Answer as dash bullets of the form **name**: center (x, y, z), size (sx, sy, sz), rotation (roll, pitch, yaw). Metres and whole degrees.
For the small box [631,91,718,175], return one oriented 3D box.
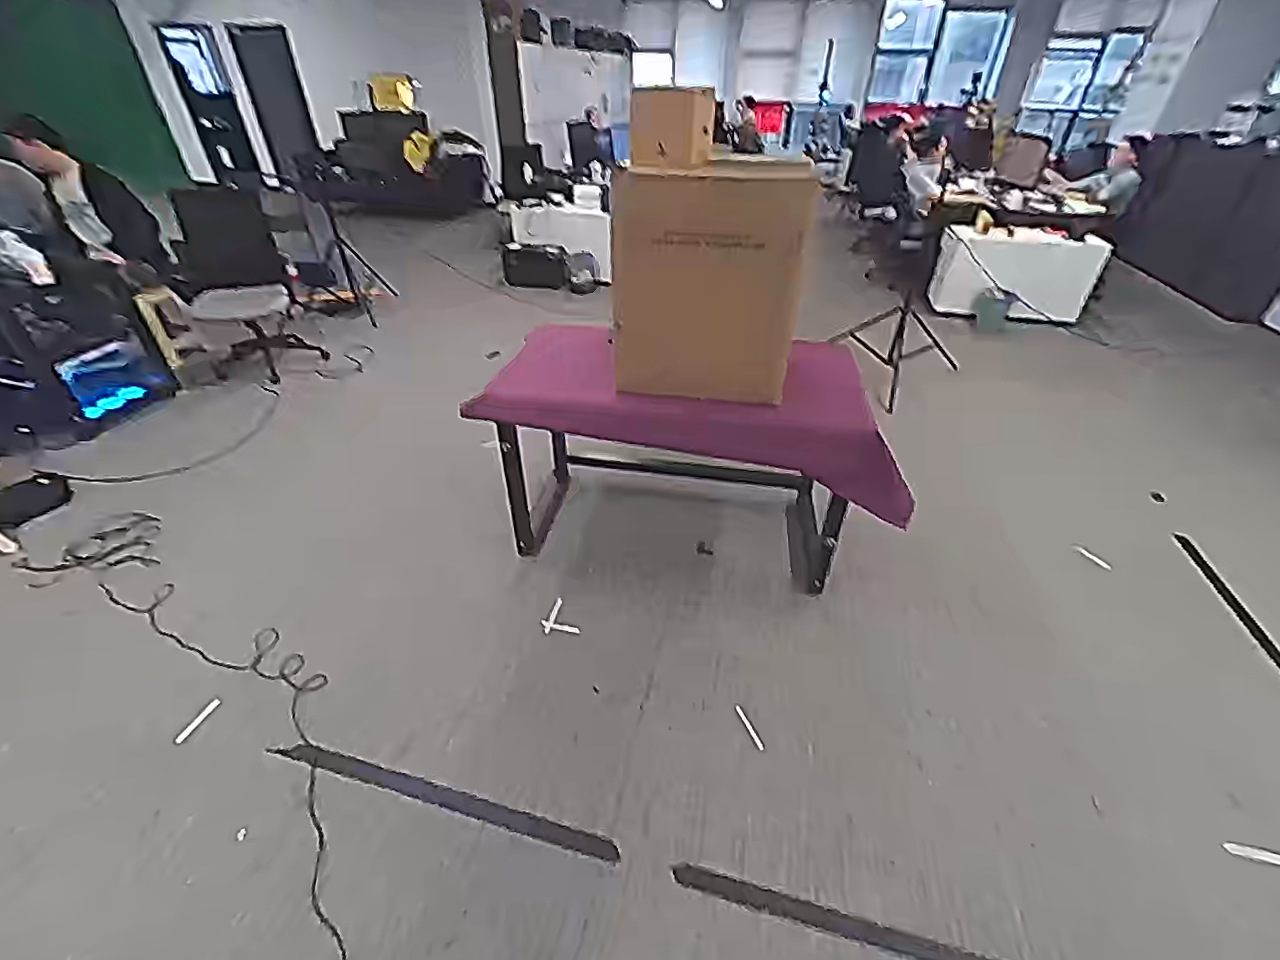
- **small box**: center (0.089, -0.909, 1.418), size (0.179, 0.176, 0.168), rotation (17, 41, 19)
